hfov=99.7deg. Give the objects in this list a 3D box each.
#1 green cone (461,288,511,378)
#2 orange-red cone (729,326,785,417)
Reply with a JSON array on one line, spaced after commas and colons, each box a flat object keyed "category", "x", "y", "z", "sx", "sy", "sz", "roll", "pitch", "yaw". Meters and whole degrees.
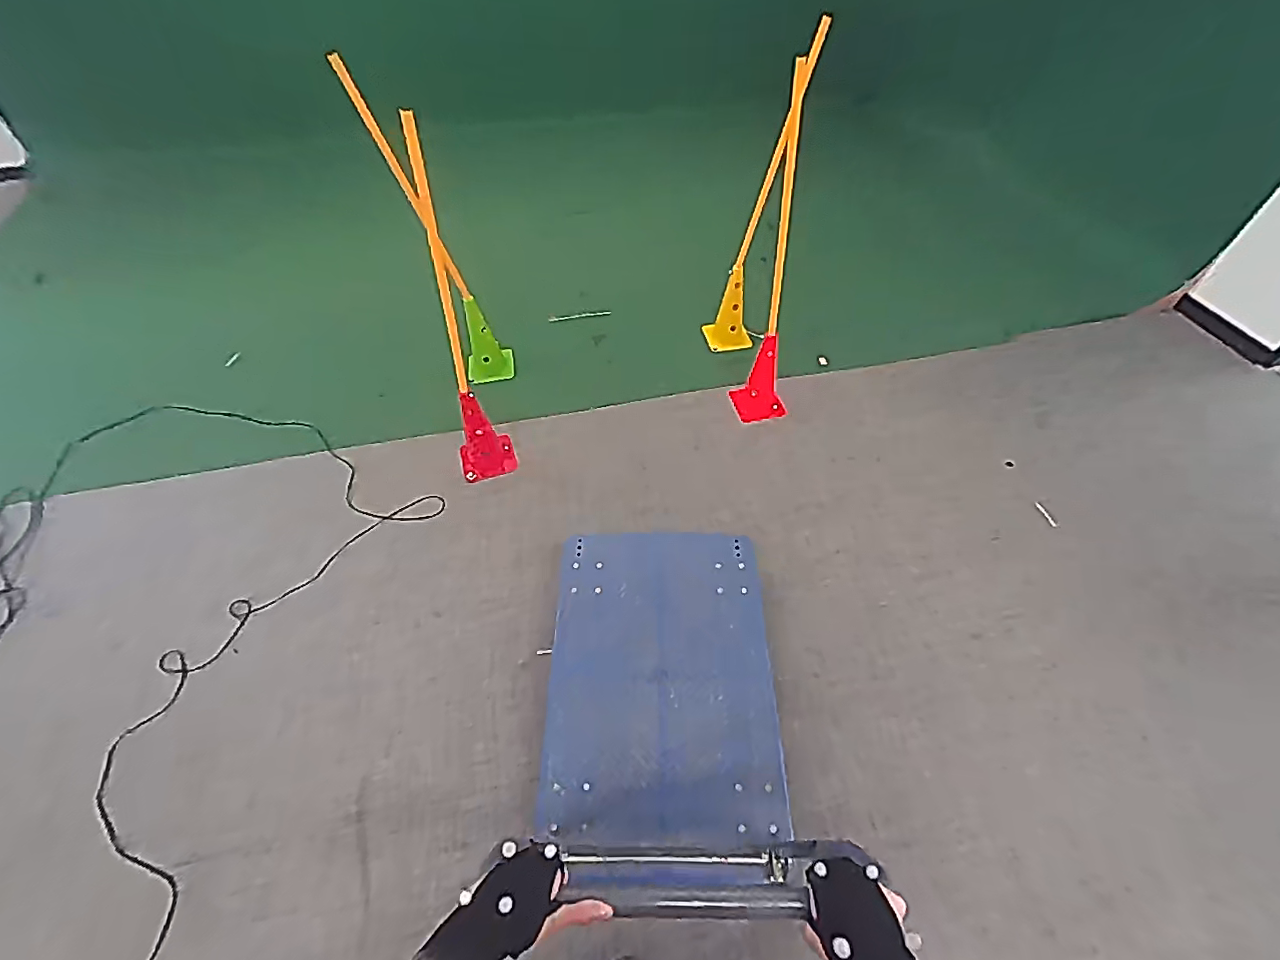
[{"category": "green cone", "x": -0.682, "y": -0.637, "z": 2.278, "sx": 0.200, "sy": 0.368, "sz": 0.202, "roll": -10, "pitch": 52, "yaw": -6}, {"category": "orange-red cone", "x": 0.482, "y": -0.445, "z": 2.118, "sx": 0.198, "sy": 0.360, "sz": 0.199, "roll": -9, "pitch": 51, "yaw": -7}]
